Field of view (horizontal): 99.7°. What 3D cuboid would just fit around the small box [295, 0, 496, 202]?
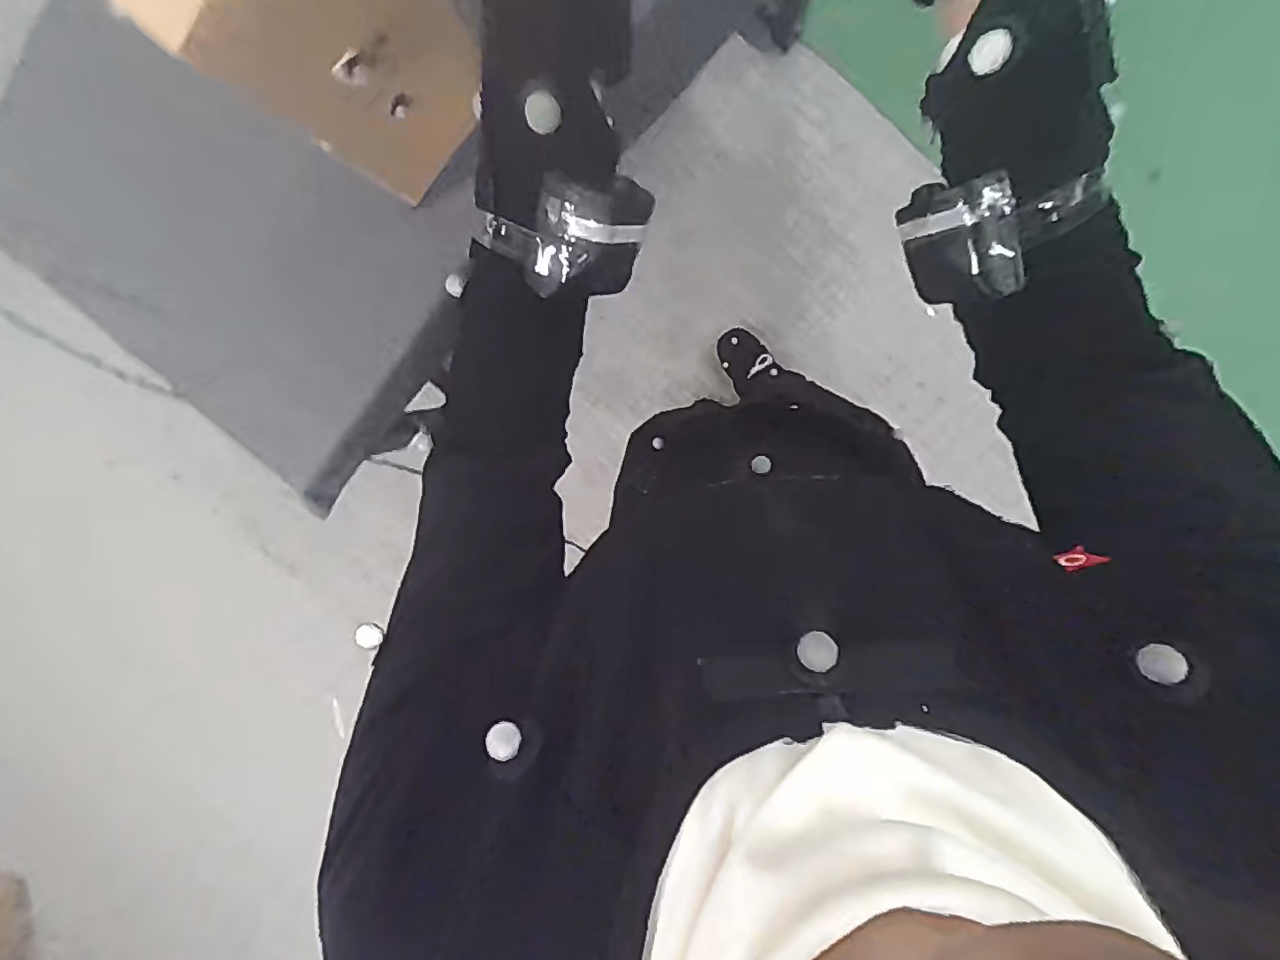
[{"bbox_3d":[-0.289,-0.446,0.592,0.168,0.176,0.179,42,102,-3],"label":"small box"}]

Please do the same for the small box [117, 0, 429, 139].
[{"bbox_3d":[-0.307,-0.413,0.418,0.179,0.176,0.168,41,104,-3],"label":"small box"}]
